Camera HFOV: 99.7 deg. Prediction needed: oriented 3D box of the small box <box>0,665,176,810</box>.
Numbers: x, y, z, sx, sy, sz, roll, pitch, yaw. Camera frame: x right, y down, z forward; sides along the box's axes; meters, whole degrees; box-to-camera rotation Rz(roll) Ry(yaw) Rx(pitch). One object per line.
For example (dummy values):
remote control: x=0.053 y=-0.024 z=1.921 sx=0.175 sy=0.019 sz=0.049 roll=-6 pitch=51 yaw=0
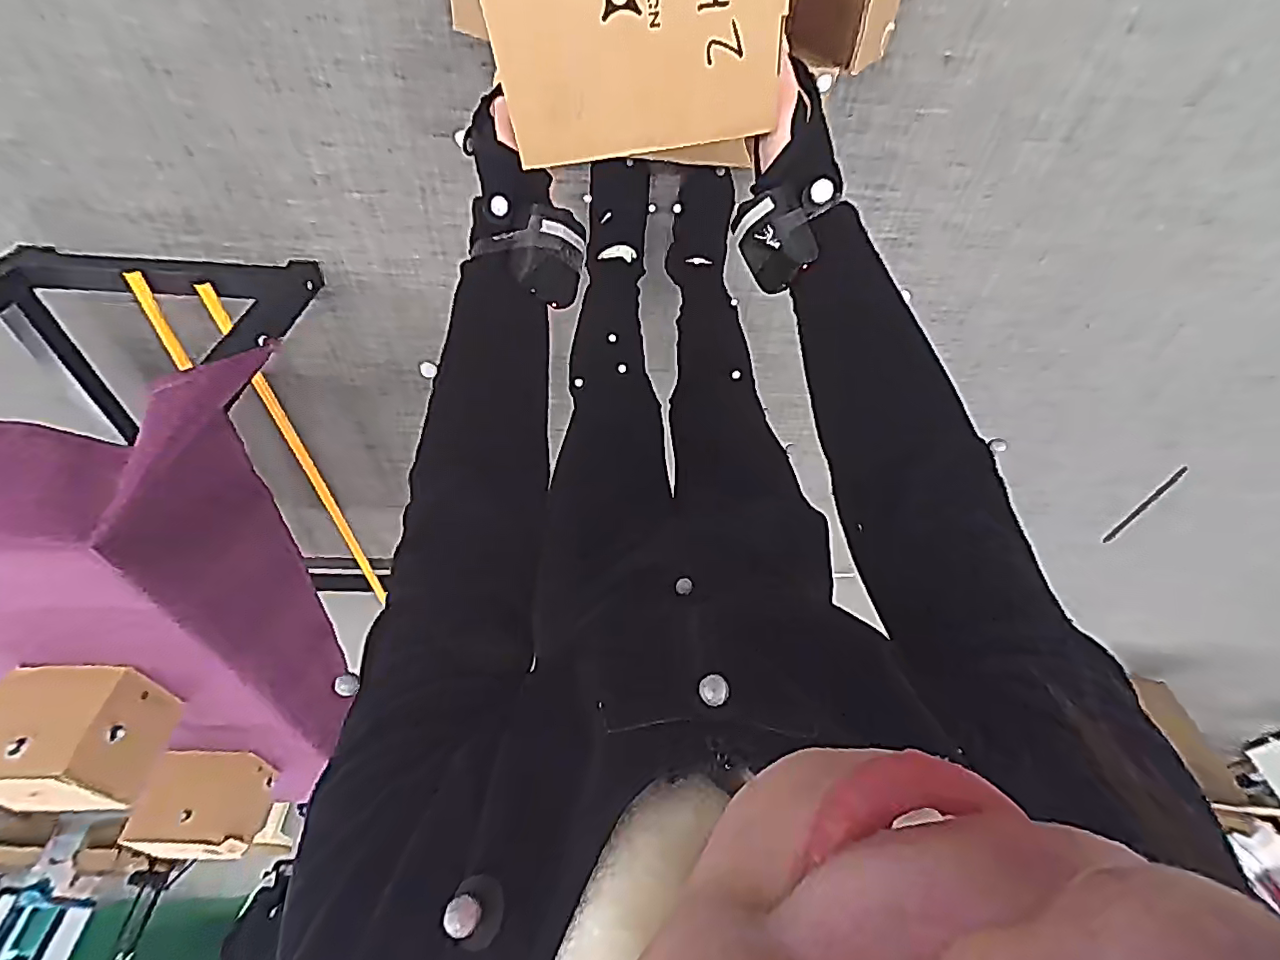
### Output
small box: x=-0.889 y=0.403 z=0.851 sx=0.179 sy=0.176 sz=0.168 roll=2 pitch=136 yaw=-4

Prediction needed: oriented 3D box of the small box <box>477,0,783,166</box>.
small box: x=-0.010 y=-0.335 z=0.352 sx=0.179 sy=0.176 sz=0.168 roll=-7 pitch=142 yaw=2

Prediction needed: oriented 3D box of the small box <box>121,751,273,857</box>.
small box: x=-0.926 y=0.693 z=1.158 sx=0.179 sy=0.176 sz=0.168 roll=4 pitch=136 yaw=-6
